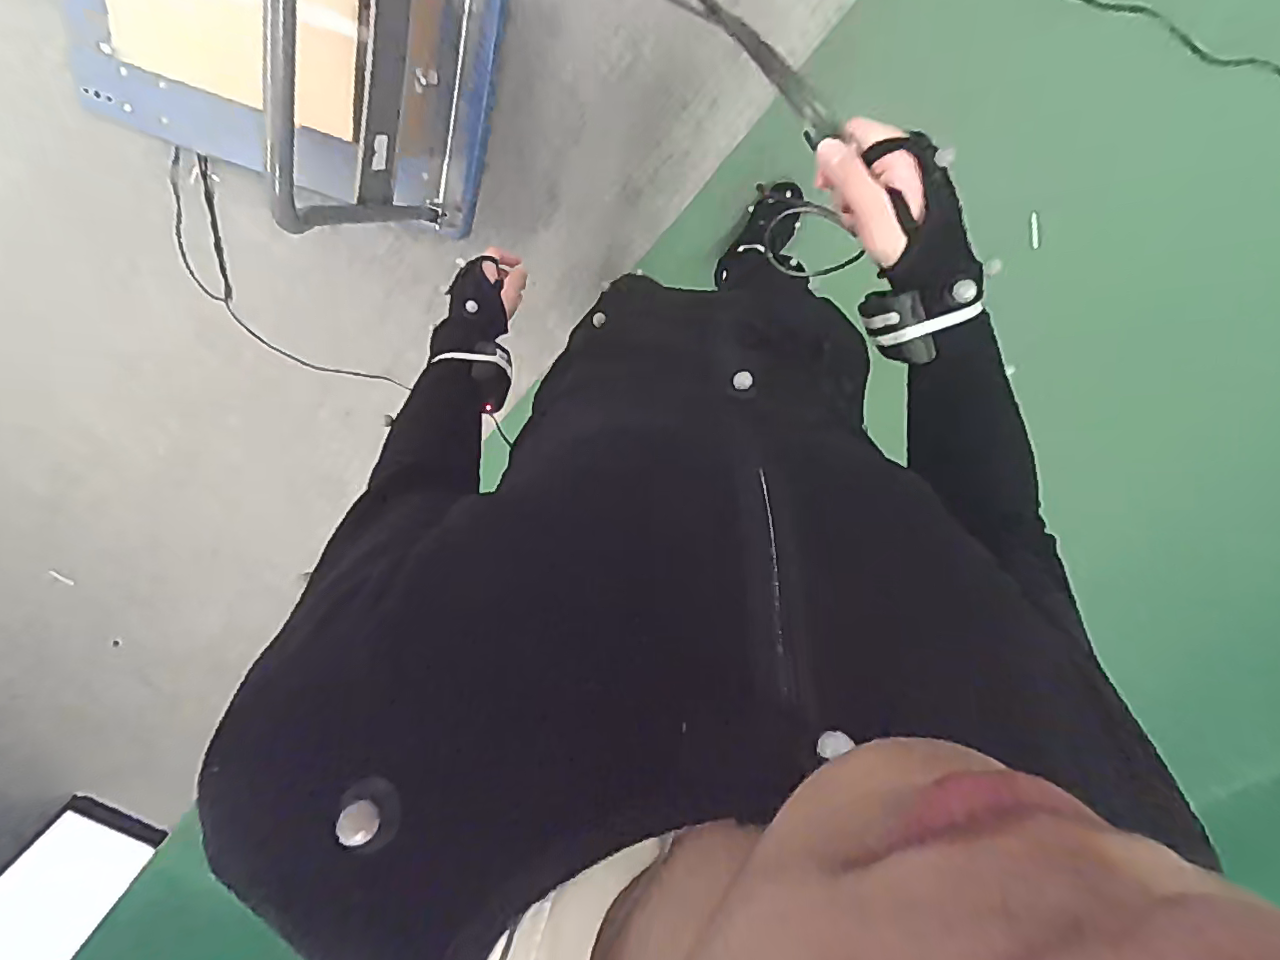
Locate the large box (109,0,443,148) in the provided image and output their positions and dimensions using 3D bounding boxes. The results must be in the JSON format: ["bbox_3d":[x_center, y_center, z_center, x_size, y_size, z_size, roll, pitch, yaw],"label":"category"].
[{"bbox_3d":[-0.617,-0.837,0.969,0.408,0.320,0.320,18,116,-4],"label":"large box"}]
